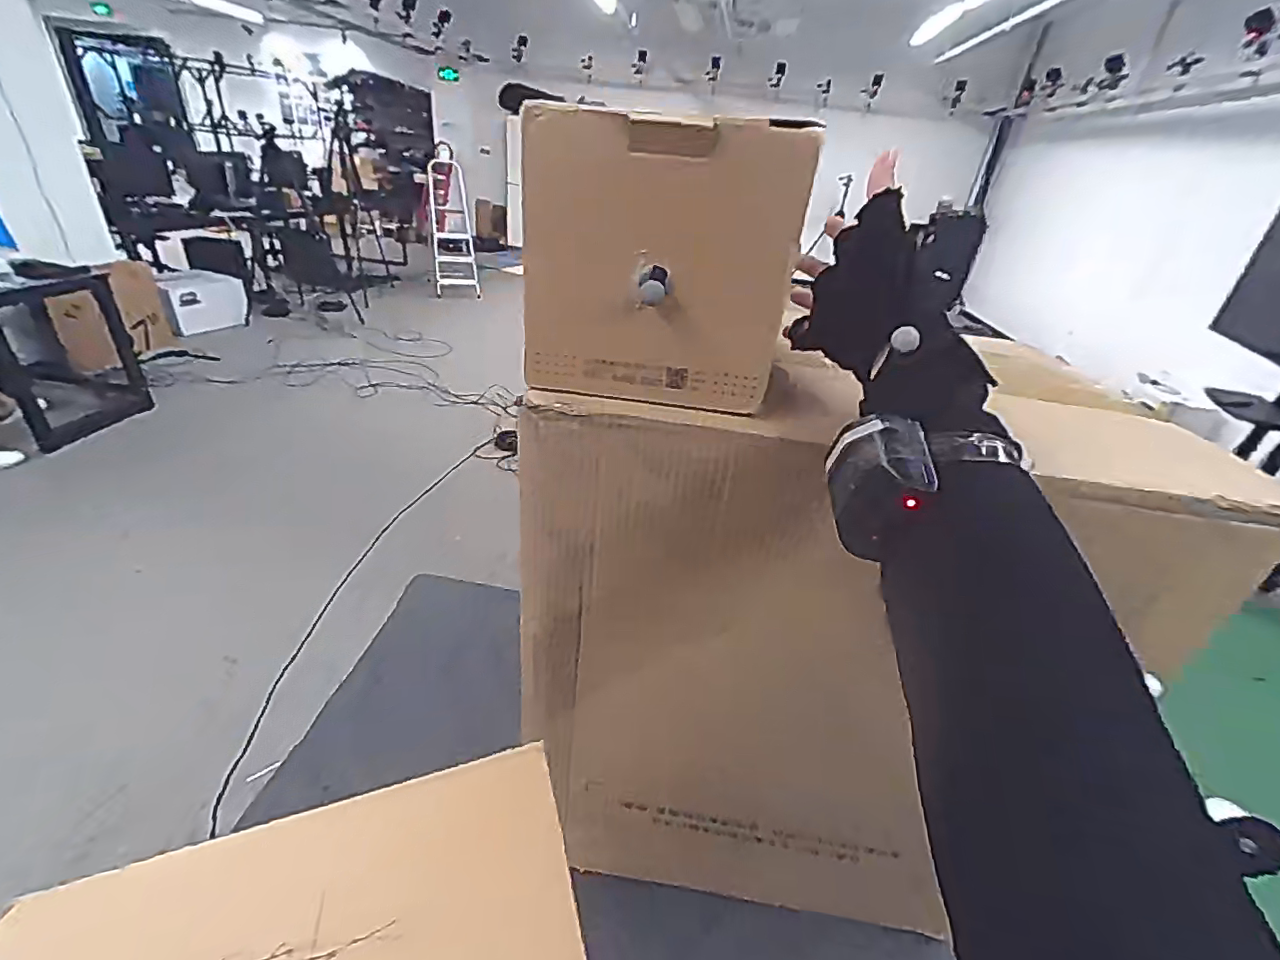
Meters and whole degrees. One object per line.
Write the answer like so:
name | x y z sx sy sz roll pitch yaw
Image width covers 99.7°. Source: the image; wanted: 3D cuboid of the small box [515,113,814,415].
small box | 0.017 -0.163 0.401 0.168 0.176 0.179 8 33 3
